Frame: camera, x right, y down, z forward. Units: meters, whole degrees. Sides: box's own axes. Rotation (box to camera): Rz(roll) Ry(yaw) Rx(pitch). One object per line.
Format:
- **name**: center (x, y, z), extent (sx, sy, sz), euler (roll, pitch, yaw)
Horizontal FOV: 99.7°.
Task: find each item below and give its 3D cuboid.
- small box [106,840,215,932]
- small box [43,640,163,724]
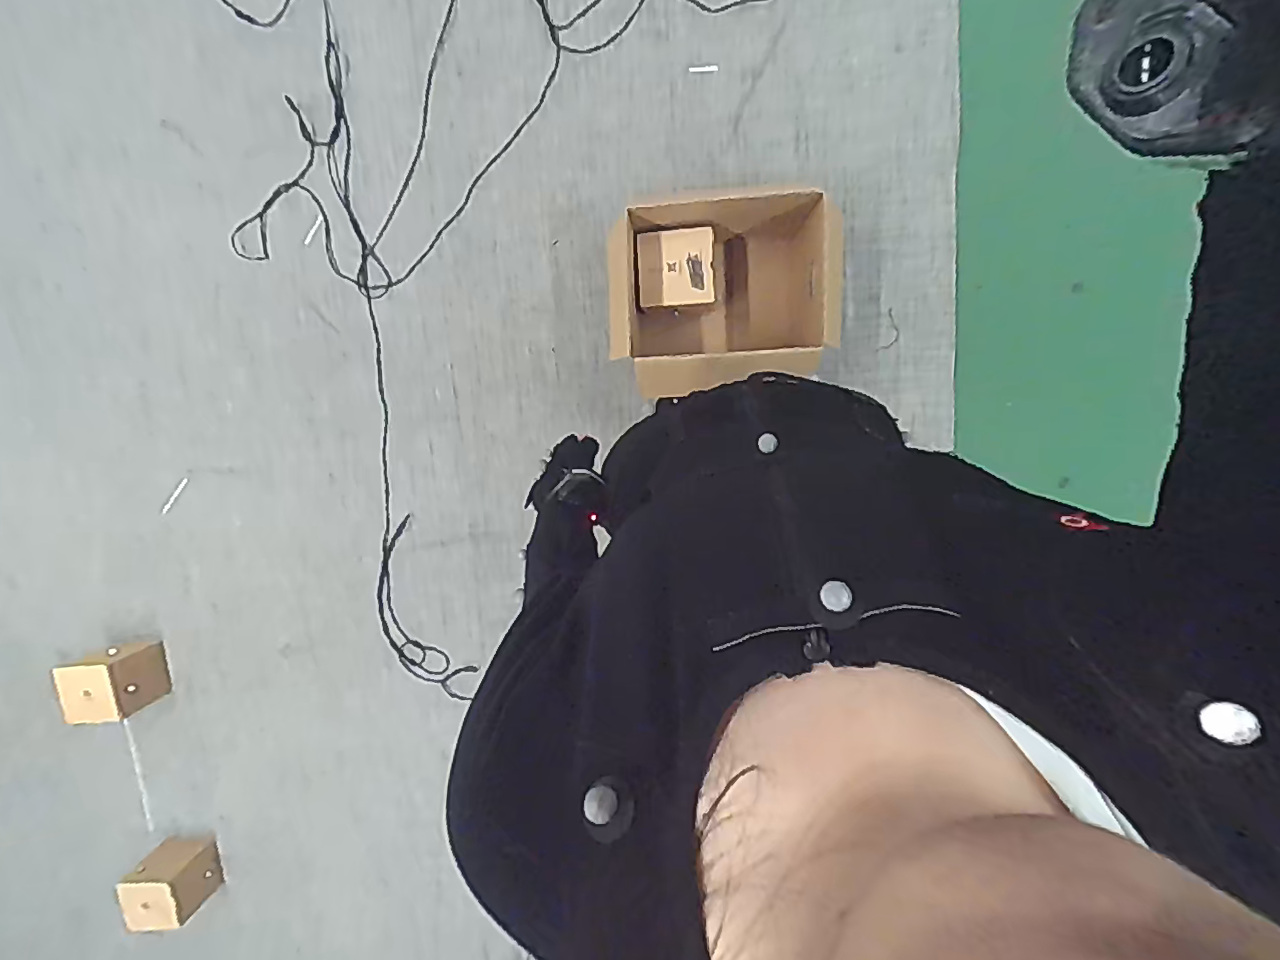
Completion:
- **small box**: center (-1.482, 1.254, 1.680), extent (0.179, 0.176, 0.168), euler (-4, 99, 4)
- **small box**: center (-1.556, 0.581, 1.578), extent (0.168, 0.176, 0.179), euler (-4, 99, 3)
